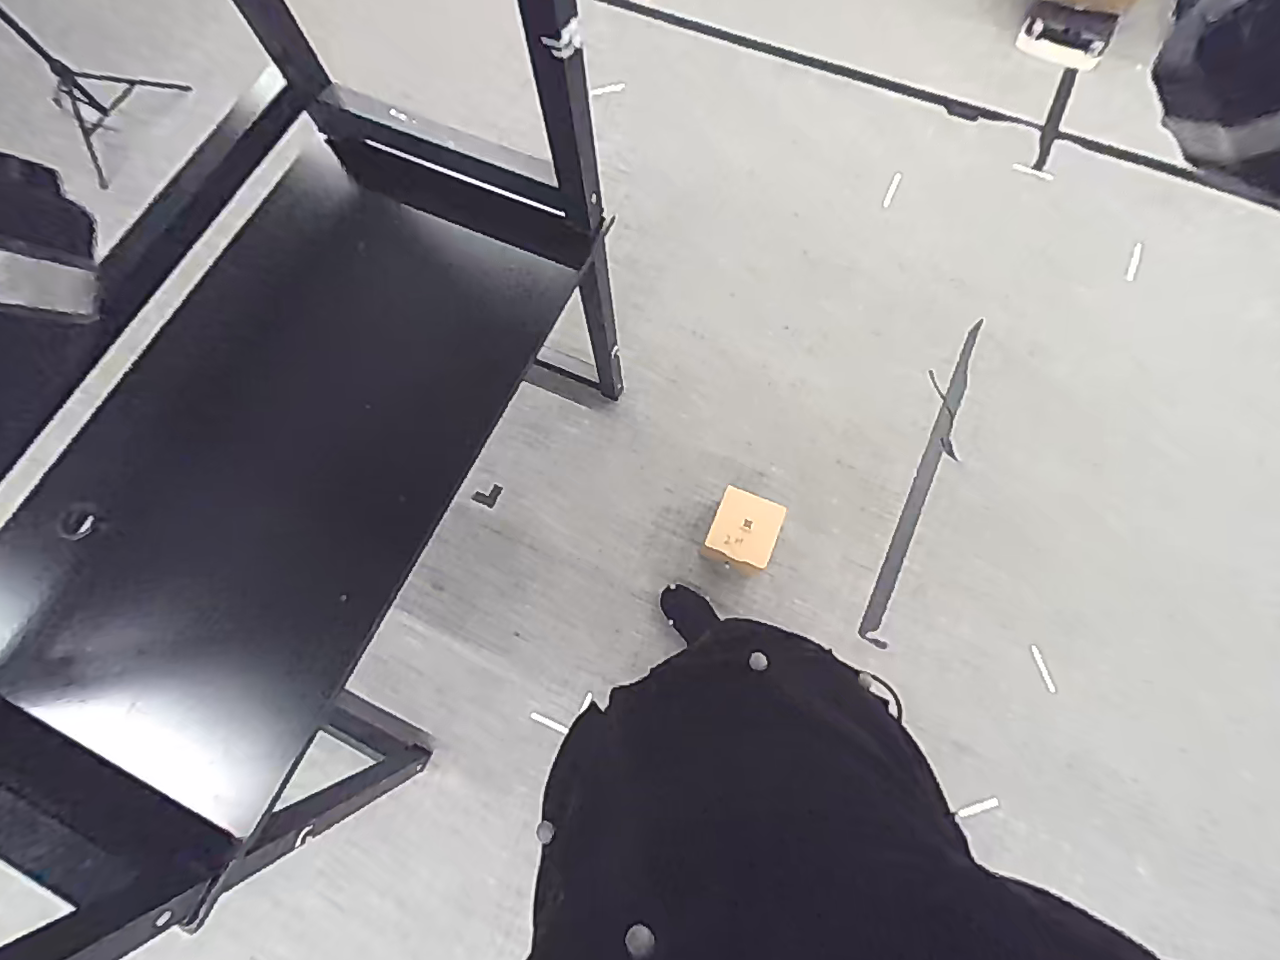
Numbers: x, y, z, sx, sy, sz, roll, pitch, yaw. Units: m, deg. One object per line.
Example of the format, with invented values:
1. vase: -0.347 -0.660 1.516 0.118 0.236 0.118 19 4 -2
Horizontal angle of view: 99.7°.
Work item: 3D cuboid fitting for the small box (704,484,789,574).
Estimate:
1. small box: 0.279 0.137 1.454 0.168 0.176 0.179 22 77 8
